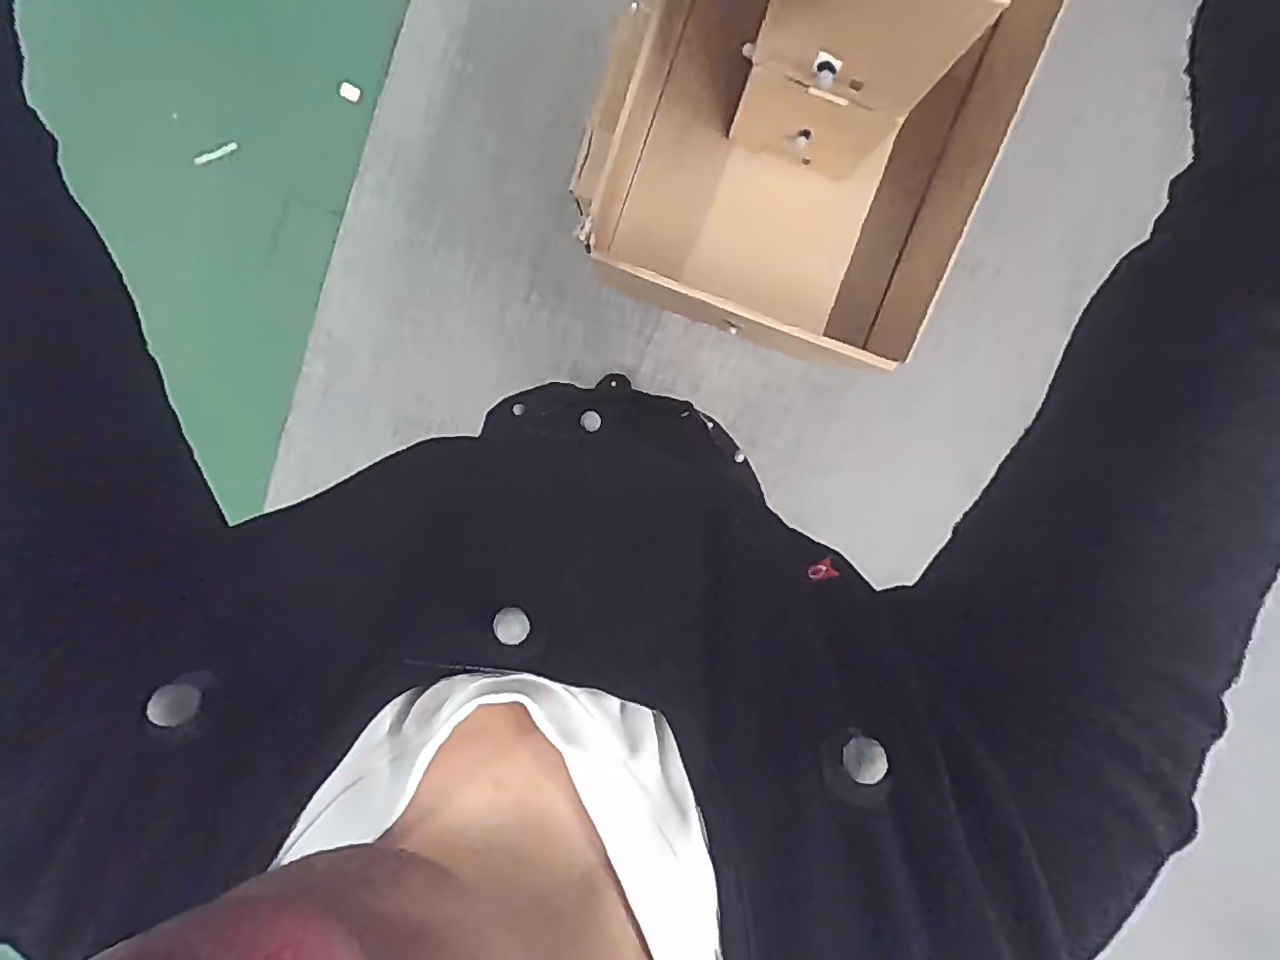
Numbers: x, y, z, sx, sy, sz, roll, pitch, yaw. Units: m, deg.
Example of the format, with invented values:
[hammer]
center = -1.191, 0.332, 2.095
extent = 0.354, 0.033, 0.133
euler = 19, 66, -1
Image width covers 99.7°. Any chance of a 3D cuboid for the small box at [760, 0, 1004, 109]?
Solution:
[small box]
center = 0.214, -0.464, 0.452
extent = 0.168, 0.176, 0.179
euler = 18, 100, -2
